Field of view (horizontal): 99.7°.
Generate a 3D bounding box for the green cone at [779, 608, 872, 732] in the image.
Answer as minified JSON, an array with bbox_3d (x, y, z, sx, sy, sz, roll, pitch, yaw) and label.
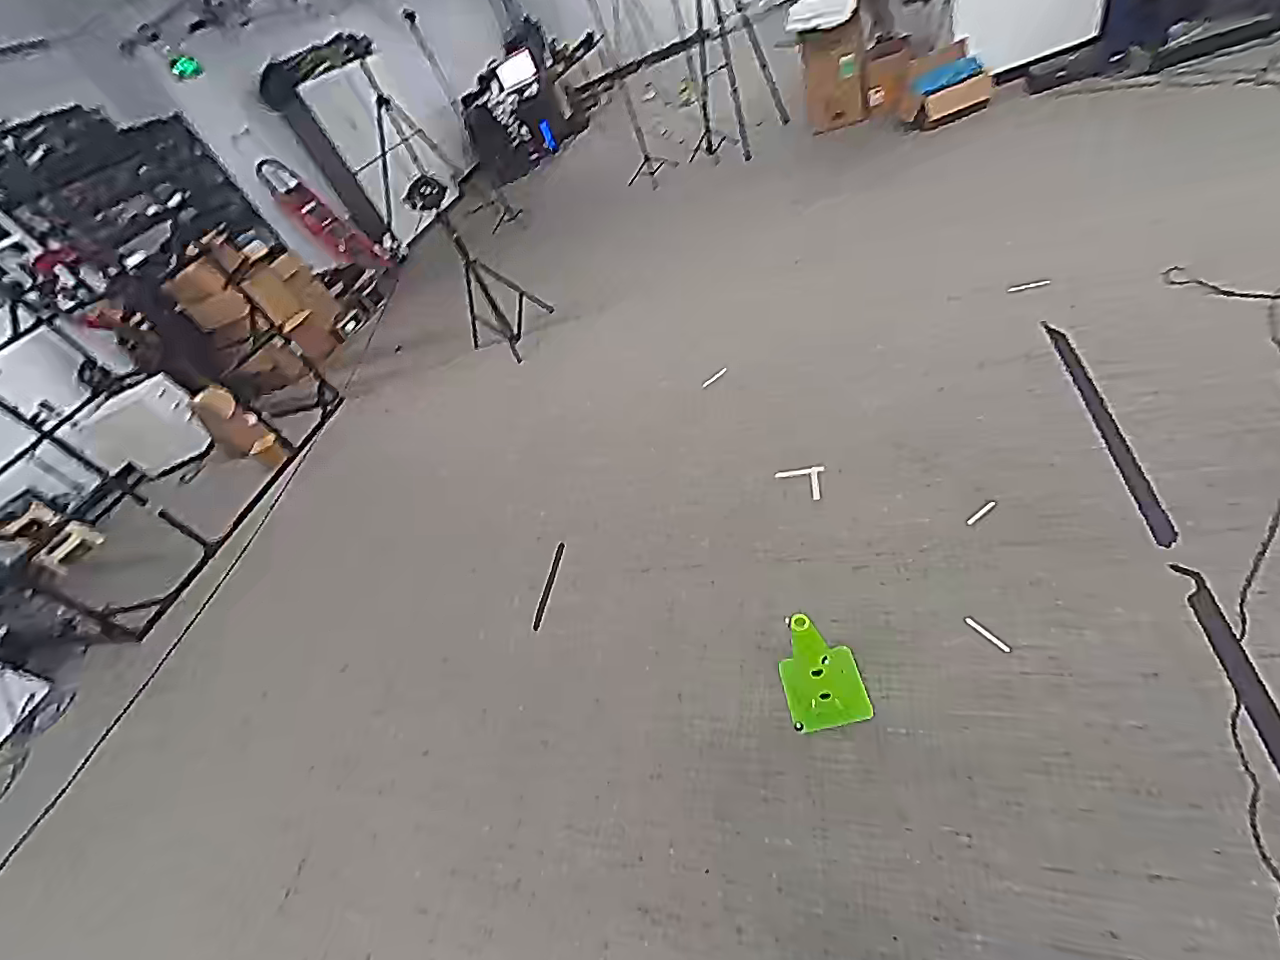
[{"bbox_3d":[0.420,0.429,1.313,0.200,0.368,0.202,-19,40,11],"label":"green cone"}]
